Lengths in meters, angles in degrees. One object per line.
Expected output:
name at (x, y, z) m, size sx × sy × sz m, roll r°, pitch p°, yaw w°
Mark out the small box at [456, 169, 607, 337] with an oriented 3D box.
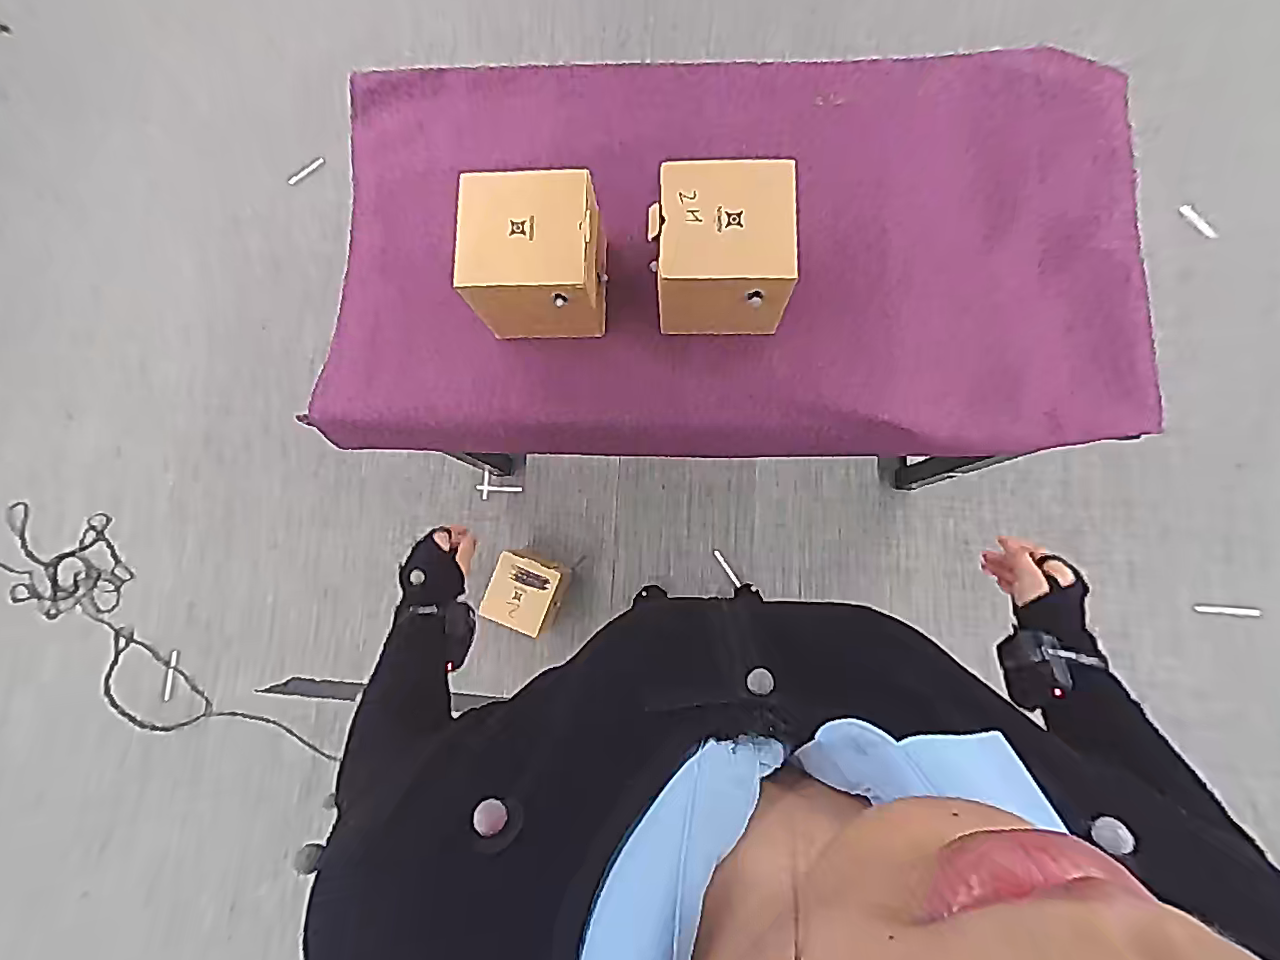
small box at (-0.146, -0.316, 0.784) m, size 0.179 × 0.176 × 0.168 m, roll -1°, pitch 81°, yaw 3°
